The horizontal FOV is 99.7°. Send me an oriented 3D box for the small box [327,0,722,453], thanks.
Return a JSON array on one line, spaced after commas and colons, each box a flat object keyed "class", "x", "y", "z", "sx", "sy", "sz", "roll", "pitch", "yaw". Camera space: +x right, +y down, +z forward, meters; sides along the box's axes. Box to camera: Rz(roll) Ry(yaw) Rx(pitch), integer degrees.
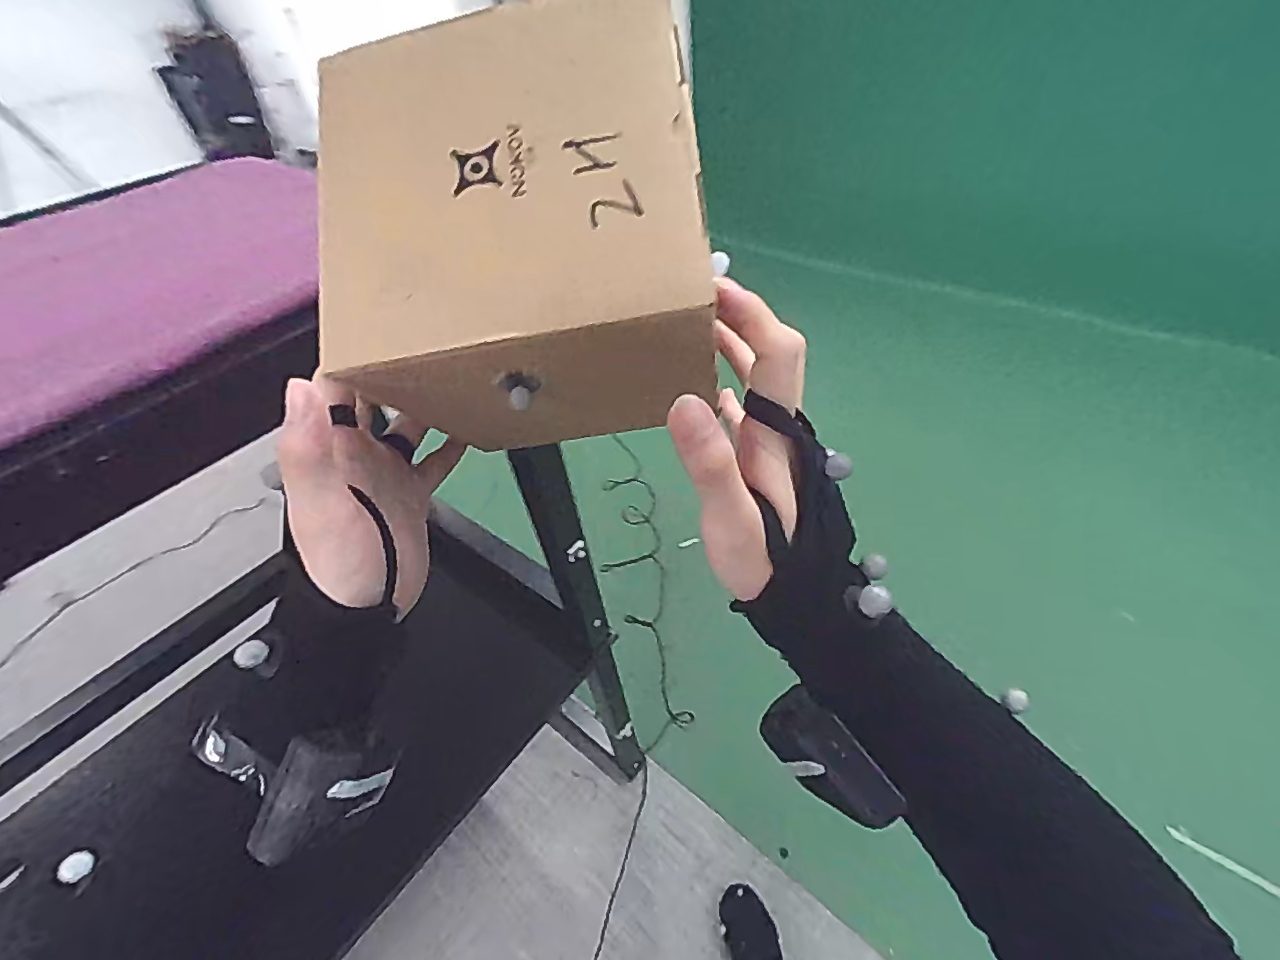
[{"class": "small box", "x": -0.048, "y": -0.118, "z": 0.322, "sx": 0.179, "sy": 0.176, "sz": 0.168, "roll": -7, "pitch": 80, "yaw": 9}]
